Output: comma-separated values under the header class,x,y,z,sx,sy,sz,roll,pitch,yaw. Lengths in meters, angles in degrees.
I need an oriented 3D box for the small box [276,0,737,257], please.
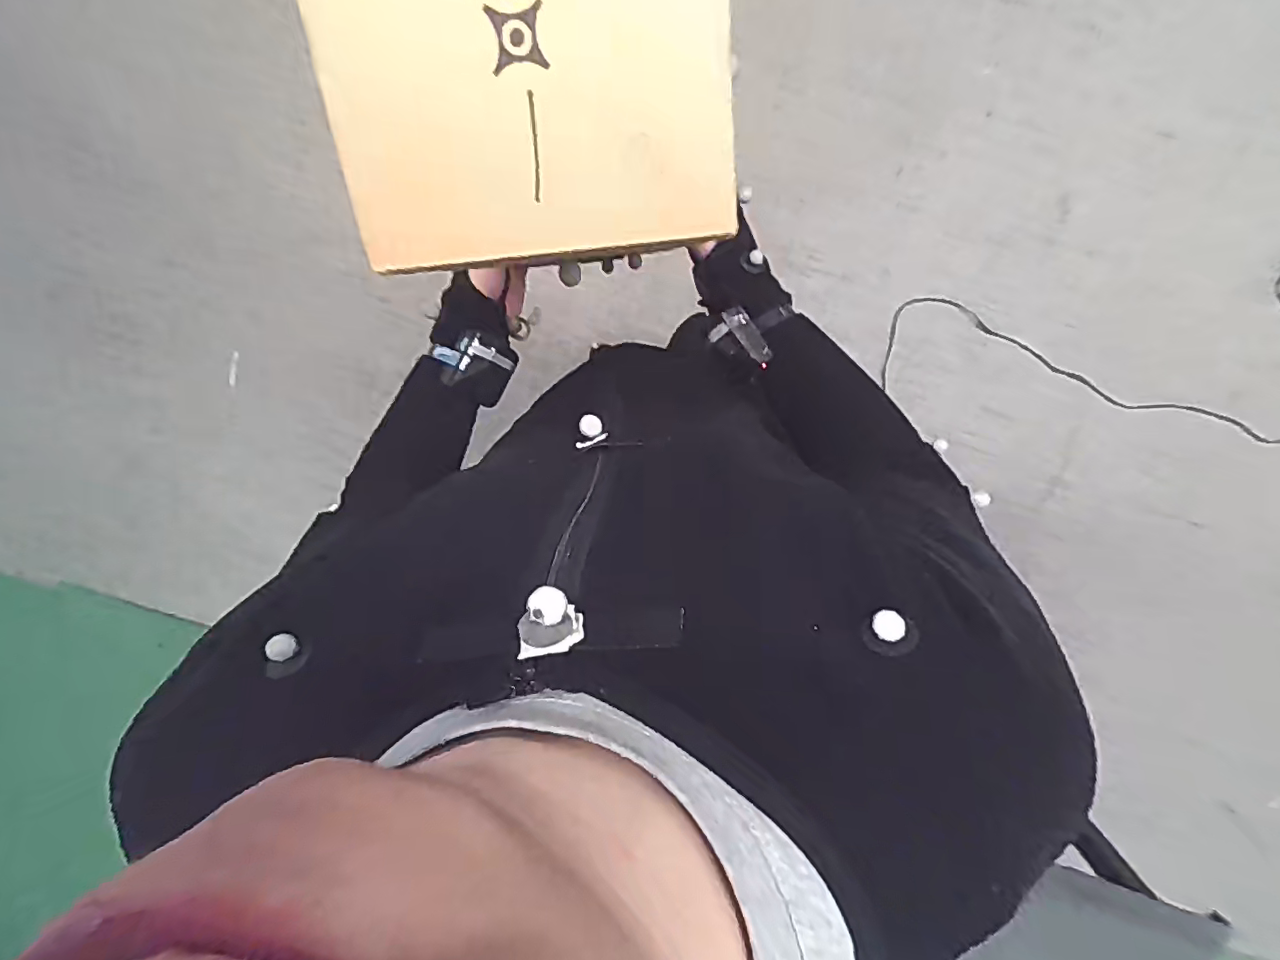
class,x,y,z,sx,sy,sz,roll,pitch,yaw
small box,-0.049,-0.210,0.263,0.168,0.176,0.179,-4,112,1
